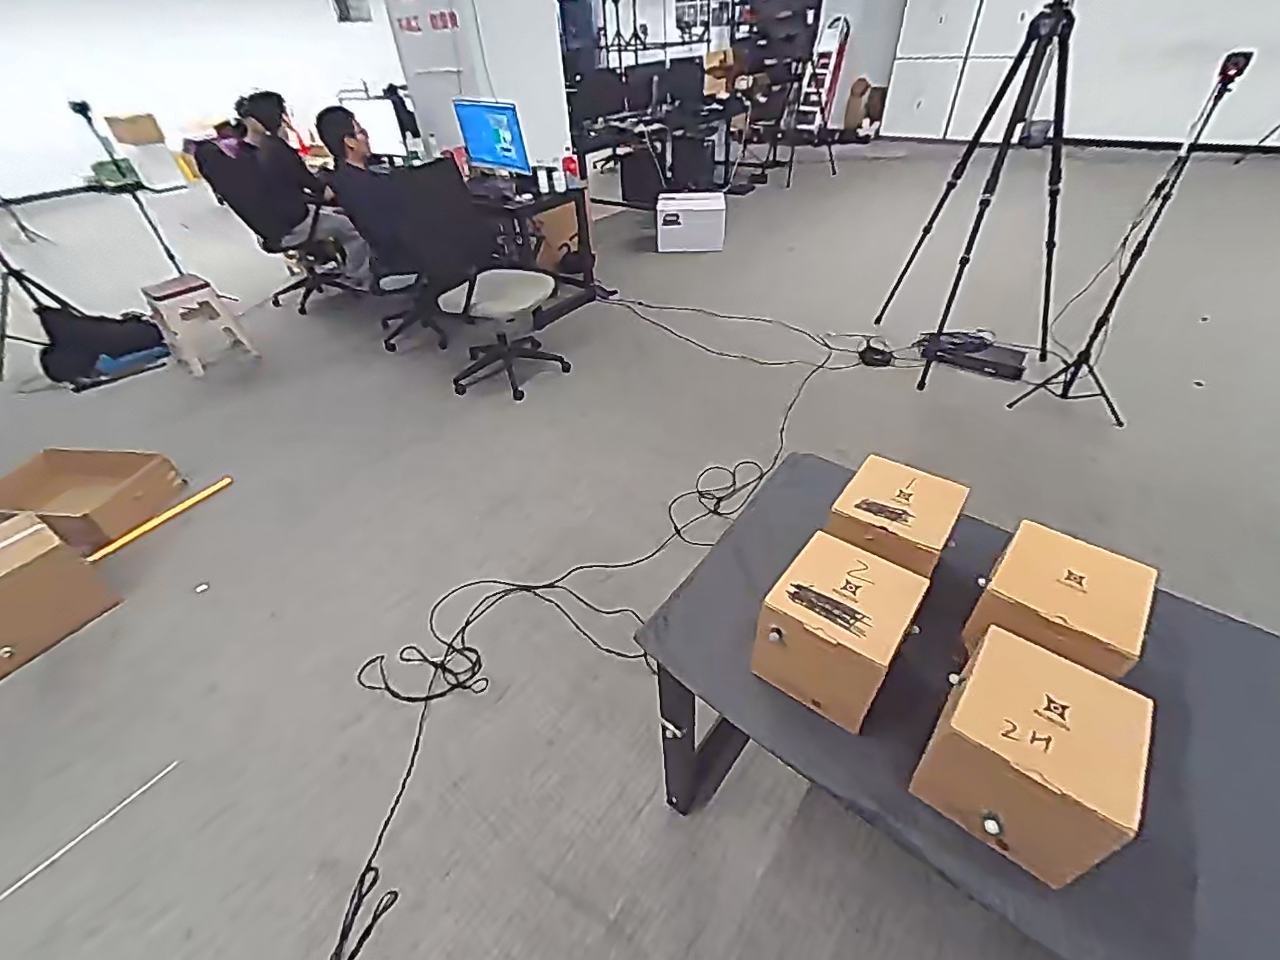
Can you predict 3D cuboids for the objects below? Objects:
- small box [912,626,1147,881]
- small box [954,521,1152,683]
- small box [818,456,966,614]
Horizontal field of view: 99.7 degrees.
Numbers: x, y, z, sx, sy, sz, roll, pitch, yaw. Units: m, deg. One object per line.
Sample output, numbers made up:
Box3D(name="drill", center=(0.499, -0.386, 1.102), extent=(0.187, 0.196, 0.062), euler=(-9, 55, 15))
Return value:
Box3D(name="small box", center=(0.451, 0.319, 0.644), extent=(0.168, 0.176, 0.179), euler=(27, 47, 31))
Box3D(name="small box", center=(0.587, 0.198, 0.784), extent=(0.168, 0.176, 0.179), euler=(28, 50, 32))
Box3D(name="small box", center=(0.419, 0.093, 0.920), extent=(0.168, 0.176, 0.179), euler=(25, 47, 30))
